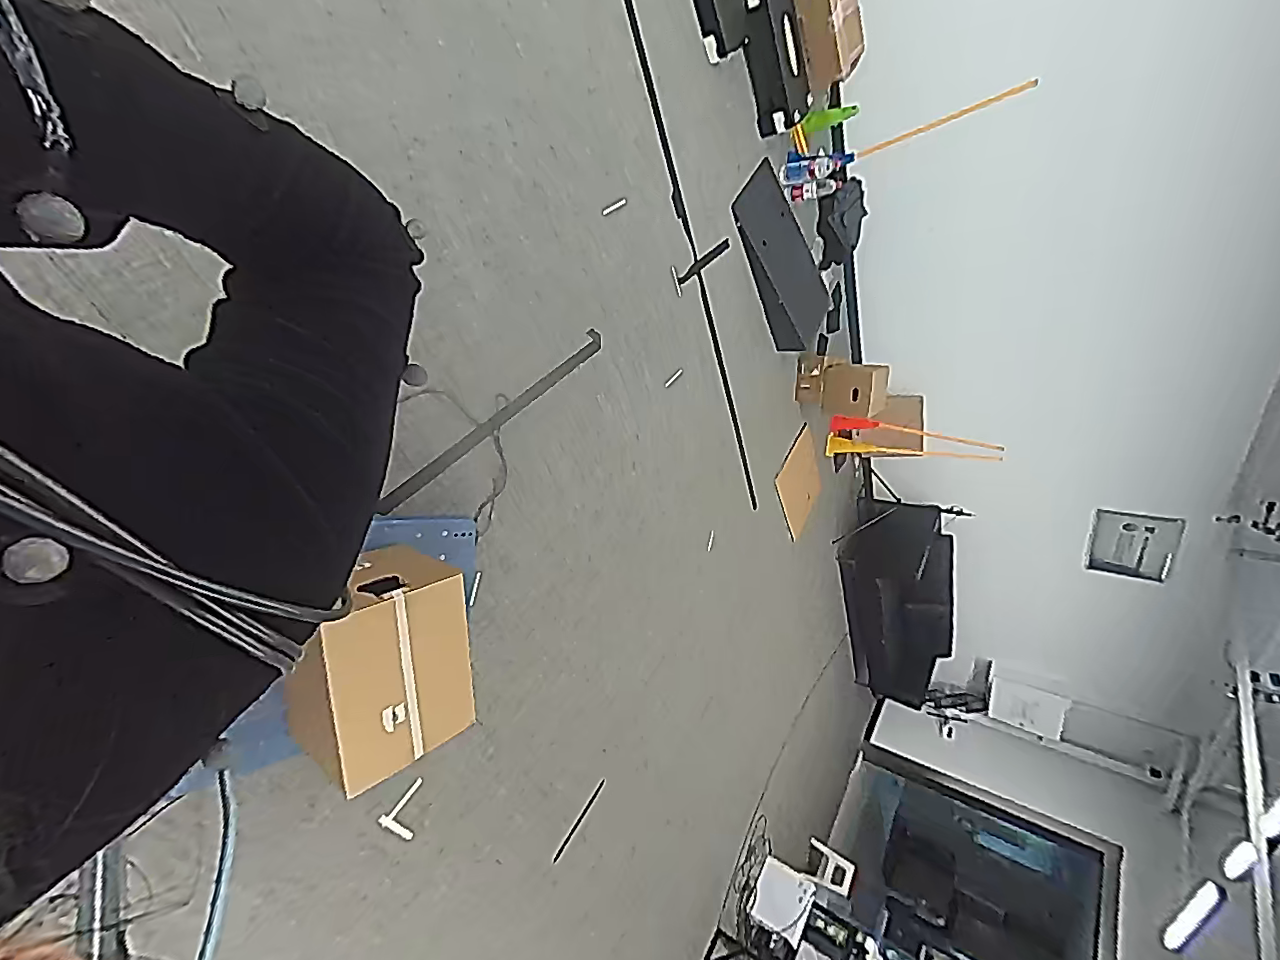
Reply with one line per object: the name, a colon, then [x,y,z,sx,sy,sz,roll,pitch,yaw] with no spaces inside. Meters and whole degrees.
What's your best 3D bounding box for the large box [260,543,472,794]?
large box: [-0.628,0.405,1.261,0.320,0.320,0.408,-16,111,-49]
